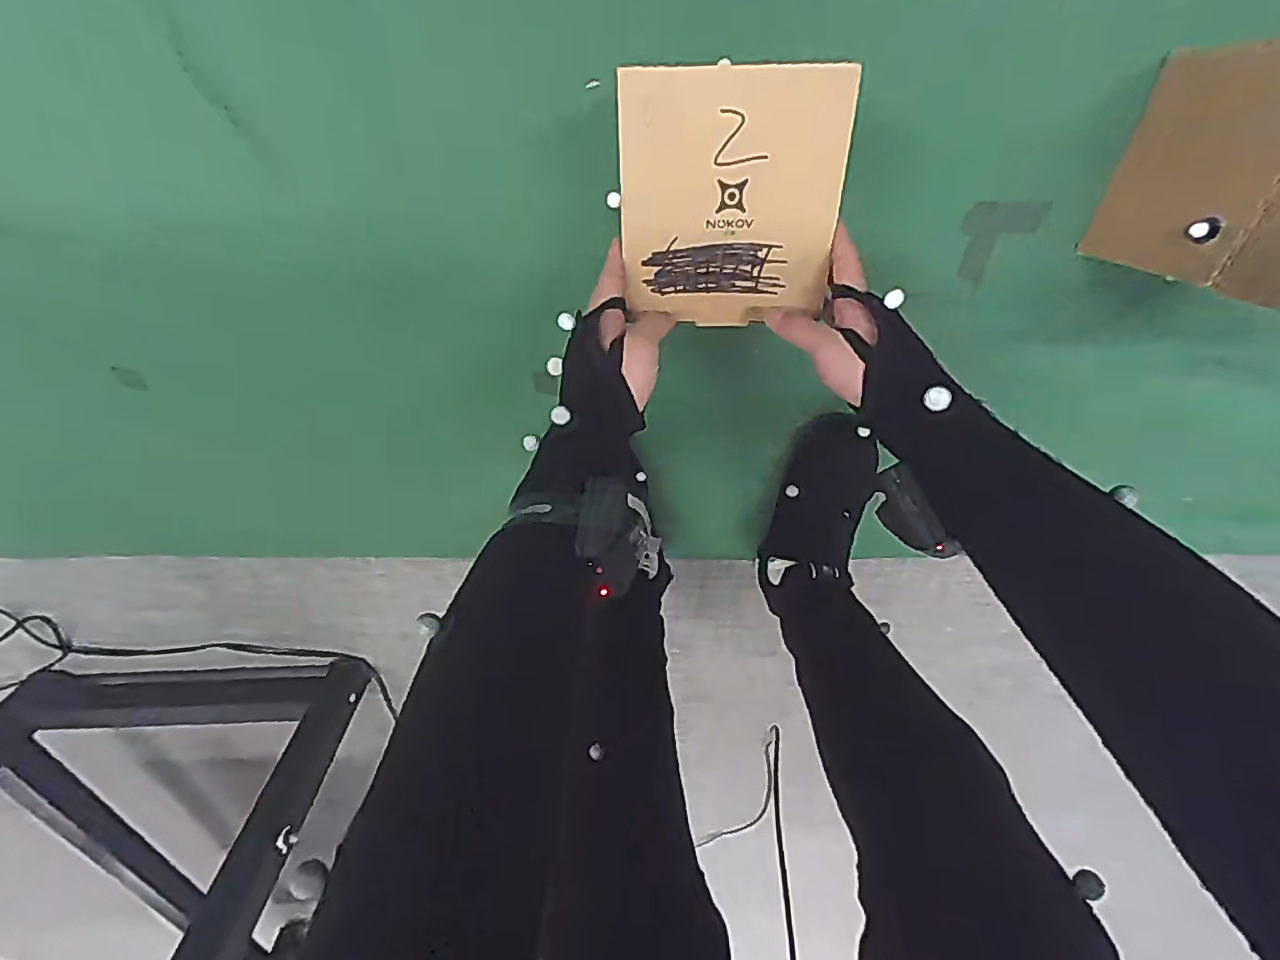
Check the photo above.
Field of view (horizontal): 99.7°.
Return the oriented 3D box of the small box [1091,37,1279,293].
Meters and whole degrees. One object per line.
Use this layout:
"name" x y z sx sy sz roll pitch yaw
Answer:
"small box" 0.553 -0.266 0.465 0.168 0.176 0.179 3 124 -3
